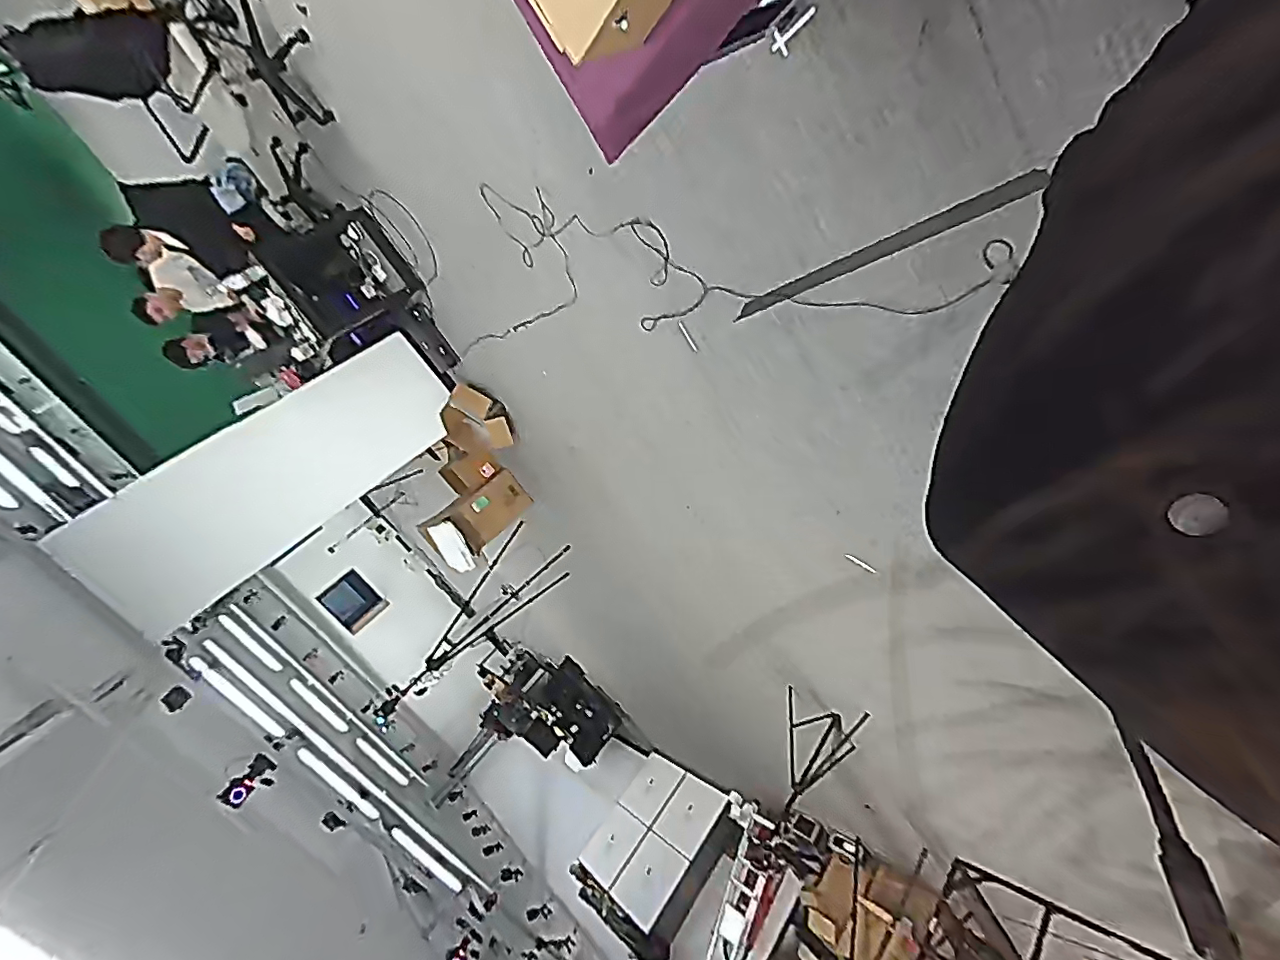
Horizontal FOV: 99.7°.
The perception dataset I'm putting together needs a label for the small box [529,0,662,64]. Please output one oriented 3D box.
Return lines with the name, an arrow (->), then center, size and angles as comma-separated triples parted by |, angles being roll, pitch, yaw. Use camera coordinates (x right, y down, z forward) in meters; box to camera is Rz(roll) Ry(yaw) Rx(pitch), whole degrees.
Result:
small box -> -0.055, -0.735, 0.748 | 0.168, 0.176, 0.179 | 54, 149, -17
